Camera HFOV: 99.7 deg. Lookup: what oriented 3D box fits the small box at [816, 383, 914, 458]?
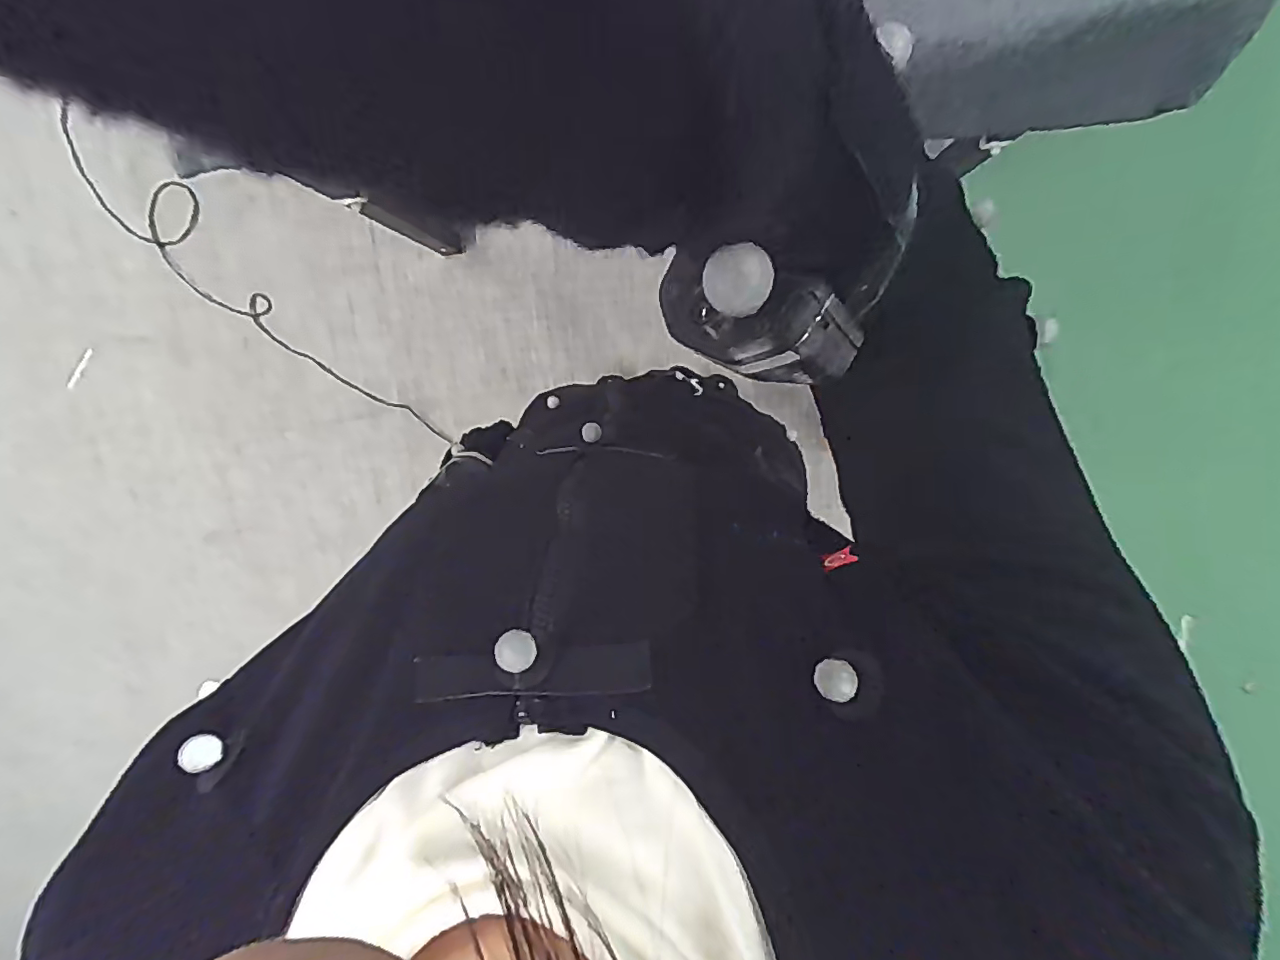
[{"bbox_3d":[0.533,-0.144,1.293,0.179,0.176,0.168,-4,99,5],"label":"small box"}]
